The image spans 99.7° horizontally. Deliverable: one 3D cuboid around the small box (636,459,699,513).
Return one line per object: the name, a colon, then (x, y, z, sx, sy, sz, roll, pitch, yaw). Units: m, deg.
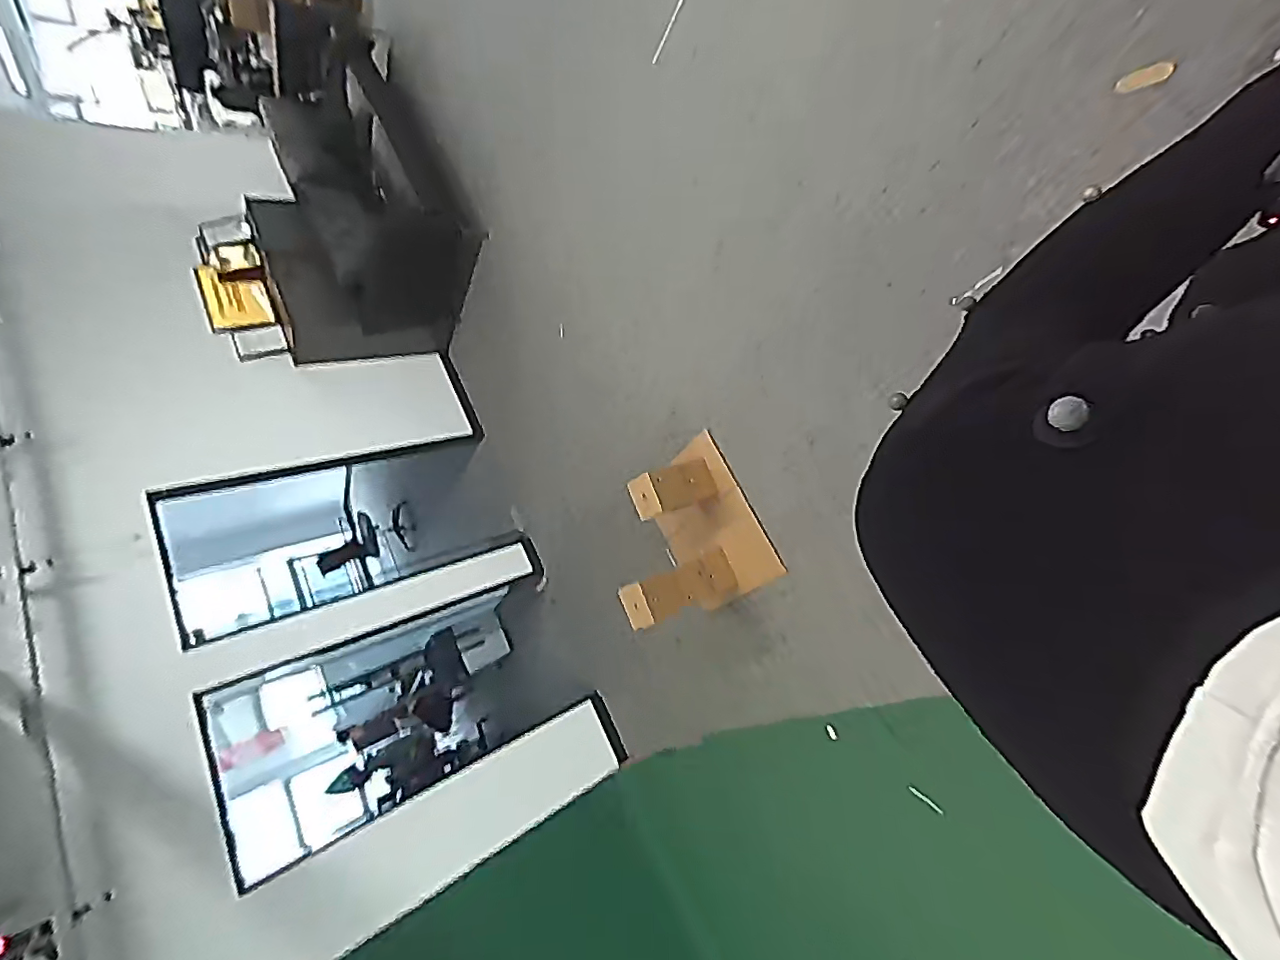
small box: (0.118, 0.019, 2.280, 0.168, 0.176, 0.179, -30, 79, 54)

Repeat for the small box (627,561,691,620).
small box: (0.082, 0.452, 2.212, 0.168, 0.176, 0.179, -35, 74, 52)

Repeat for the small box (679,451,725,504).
small box: (0.243, -0.015, 2.383, 0.168, 0.176, 0.179, -37, 74, 53)

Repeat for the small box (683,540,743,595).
small box: (0.331, 0.390, 2.416, 0.168, 0.176, 0.179, -39, 71, 52)
